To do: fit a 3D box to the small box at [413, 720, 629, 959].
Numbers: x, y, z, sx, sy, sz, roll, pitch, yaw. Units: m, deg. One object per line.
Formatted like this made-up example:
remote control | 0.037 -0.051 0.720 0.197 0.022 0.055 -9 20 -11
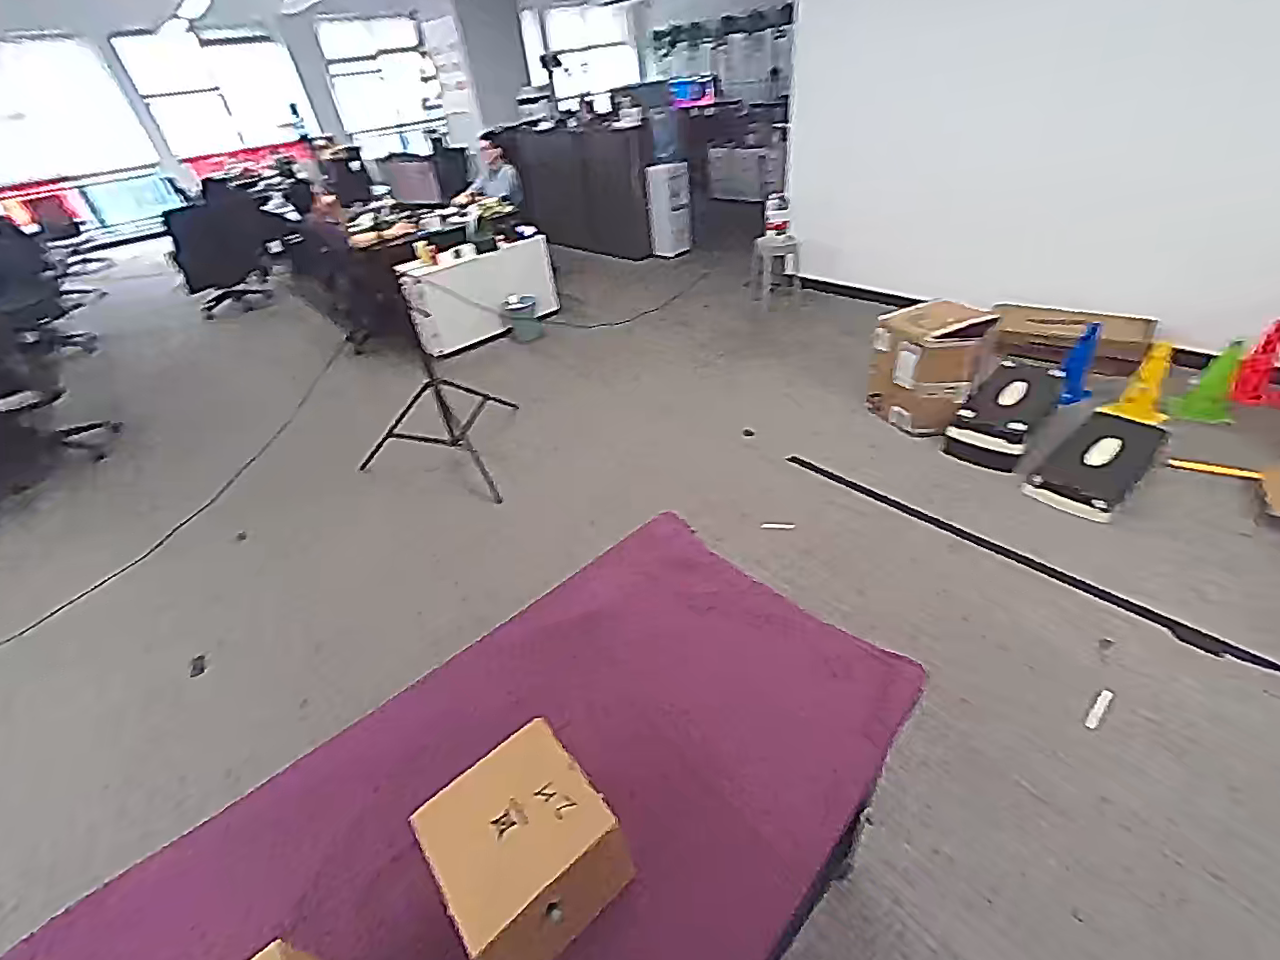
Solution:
small box | -0.131 0.437 0.638 0.179 0.176 0.168 -30 42 -27
